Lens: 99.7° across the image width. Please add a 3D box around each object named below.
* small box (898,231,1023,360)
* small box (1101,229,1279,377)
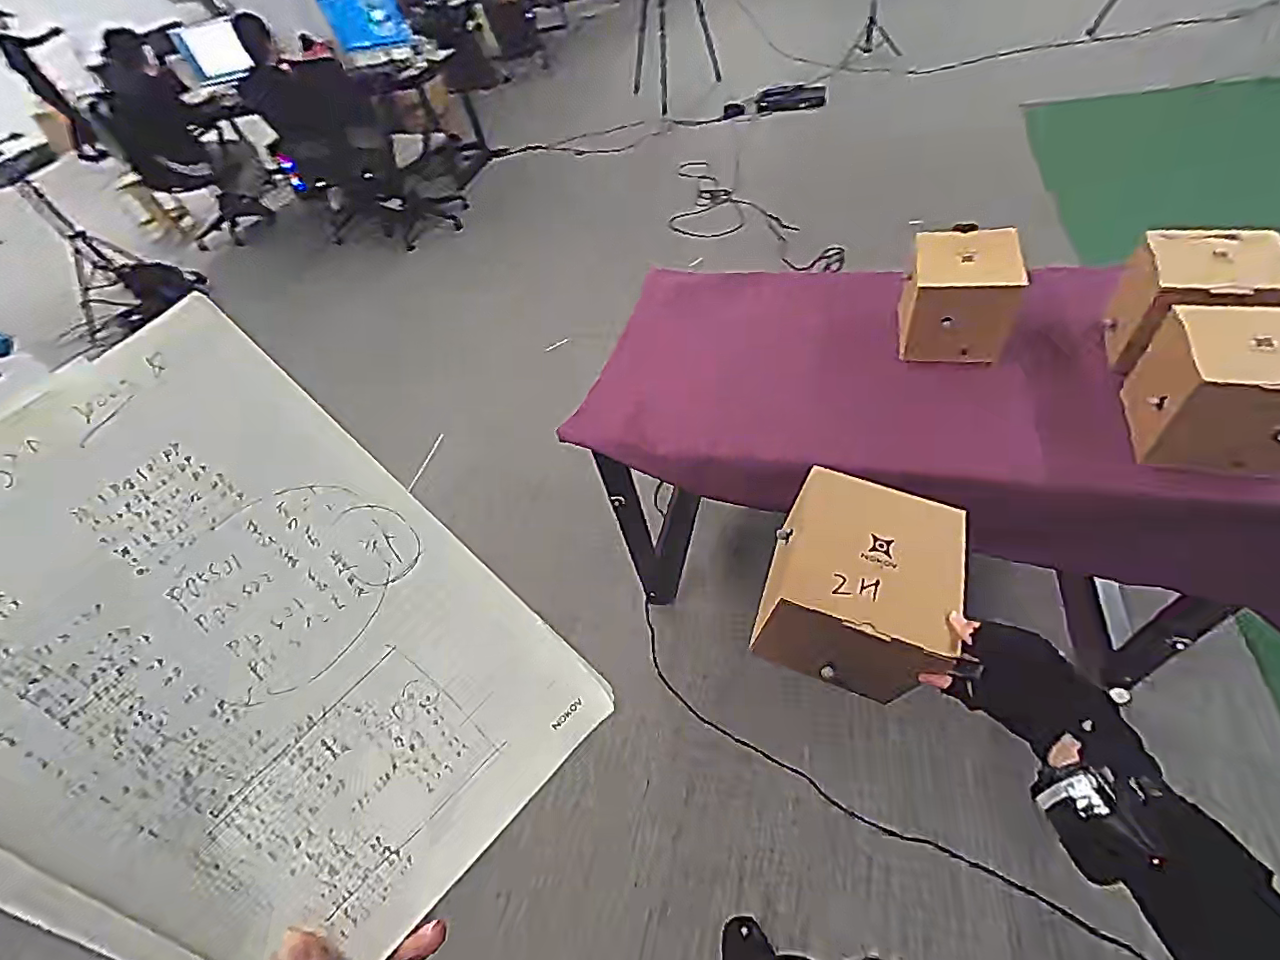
[{"bbox_3d":[0.591,-0.342,1.019,0.168,0.176,0.179,5,52,18],"label":"small box"},{"bbox_3d":[0.905,-0.292,0.897,0.168,0.176,0.179,11,55,22],"label":"small box"}]
